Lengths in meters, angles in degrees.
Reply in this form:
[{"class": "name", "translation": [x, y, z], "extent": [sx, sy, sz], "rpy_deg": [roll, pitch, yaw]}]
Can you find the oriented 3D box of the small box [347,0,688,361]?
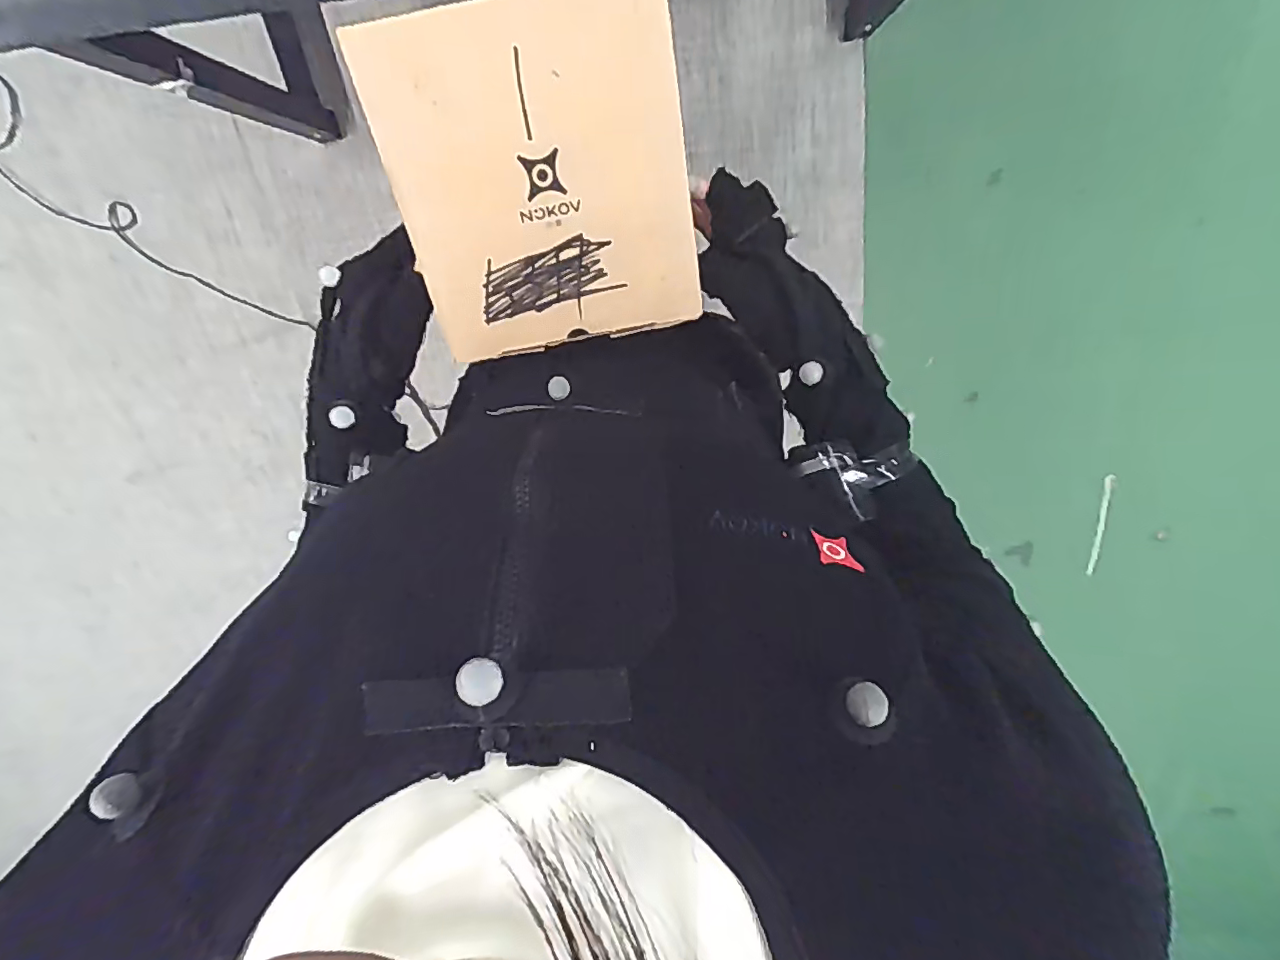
[{"class": "small box", "translation": [-0.063, -0.205, 0.385], "extent": [0.168, 0.176, 0.179], "rpy_deg": [-10, 120, 1]}]
